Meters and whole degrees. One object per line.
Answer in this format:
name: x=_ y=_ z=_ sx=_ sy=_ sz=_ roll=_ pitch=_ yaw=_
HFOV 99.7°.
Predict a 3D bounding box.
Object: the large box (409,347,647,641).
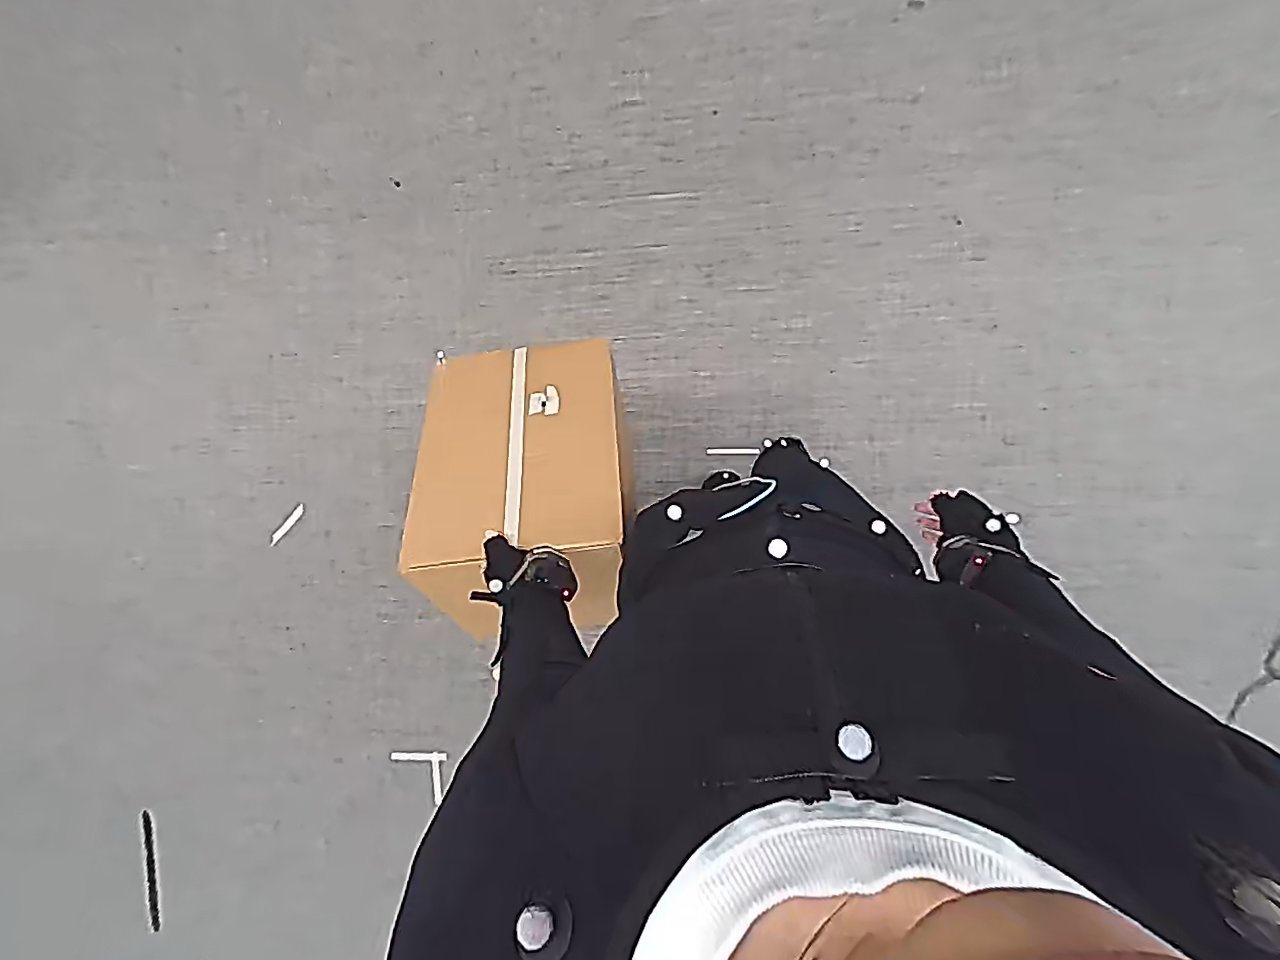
large box: x=-0.171 y=0.030 z=0.968 sx=0.320 sy=0.320 sz=0.408 roll=-7 pitch=55 yaw=1
